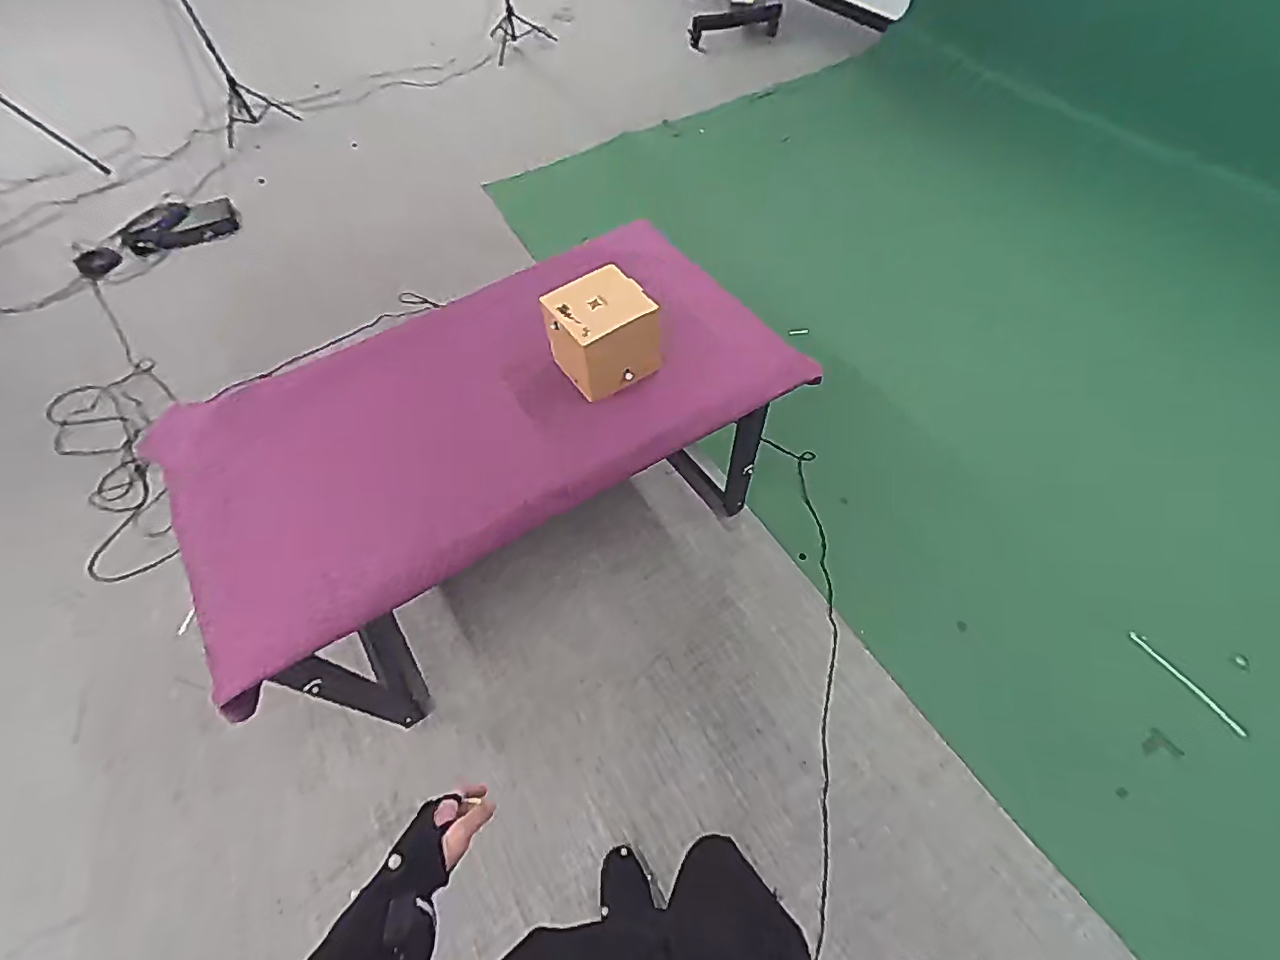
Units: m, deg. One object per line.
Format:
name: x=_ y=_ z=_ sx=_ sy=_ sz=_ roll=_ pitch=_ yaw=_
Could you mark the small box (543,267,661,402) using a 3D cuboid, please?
small box: x=-0.074 y=-0.295 z=1.110 sx=0.179 sy=0.176 sz=0.168 roll=-31 pitch=61 yaw=-15
